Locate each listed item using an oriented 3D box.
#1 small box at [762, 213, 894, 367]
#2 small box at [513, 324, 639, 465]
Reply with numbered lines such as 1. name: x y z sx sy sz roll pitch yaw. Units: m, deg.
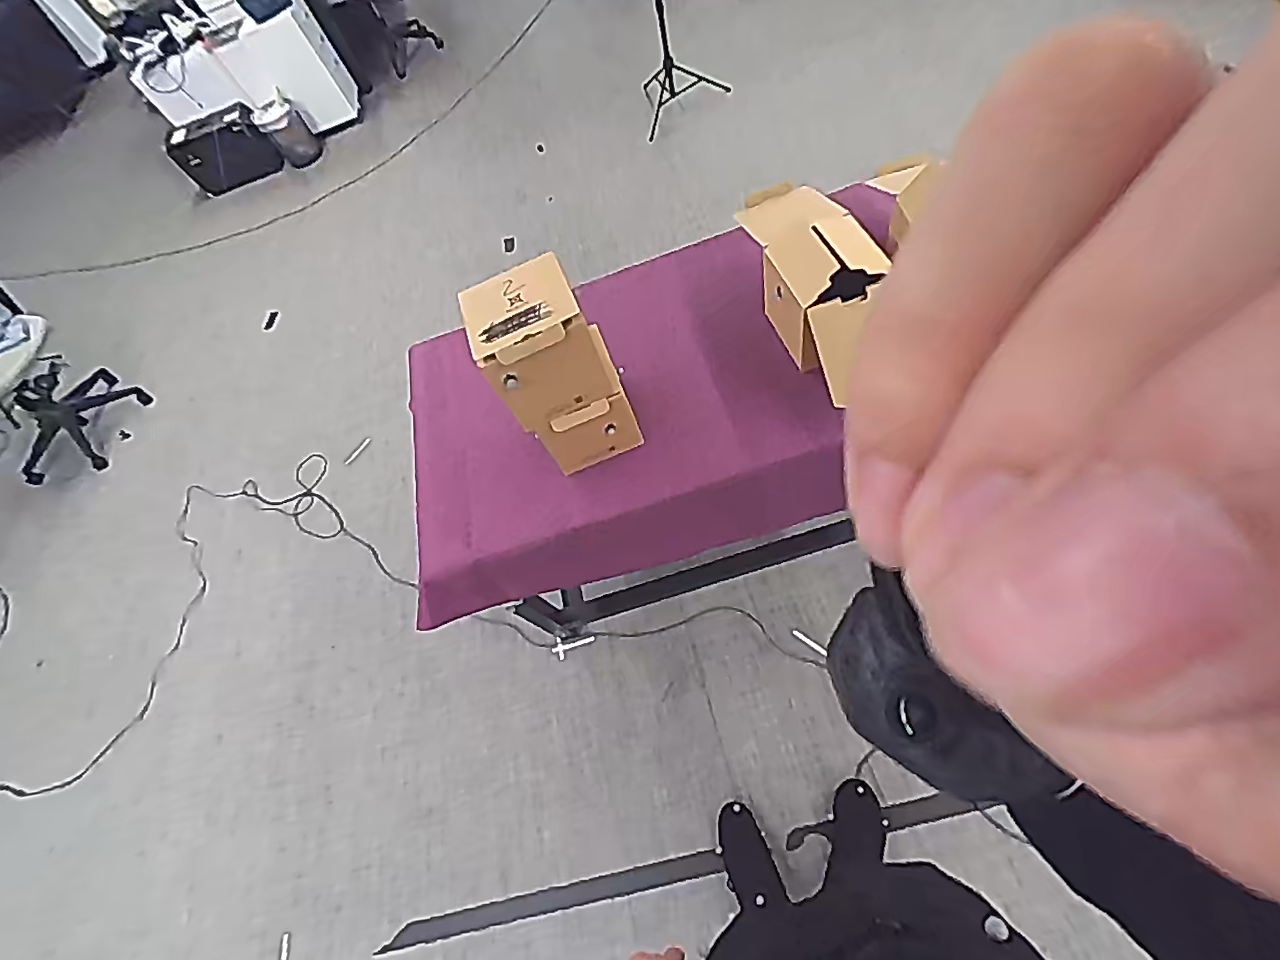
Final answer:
1. small box: 0.333 -0.342 0.993 0.168 0.176 0.179 -21 60 4
2. small box: -0.114 -0.148 1.009 0.168 0.176 0.179 -22 60 2
